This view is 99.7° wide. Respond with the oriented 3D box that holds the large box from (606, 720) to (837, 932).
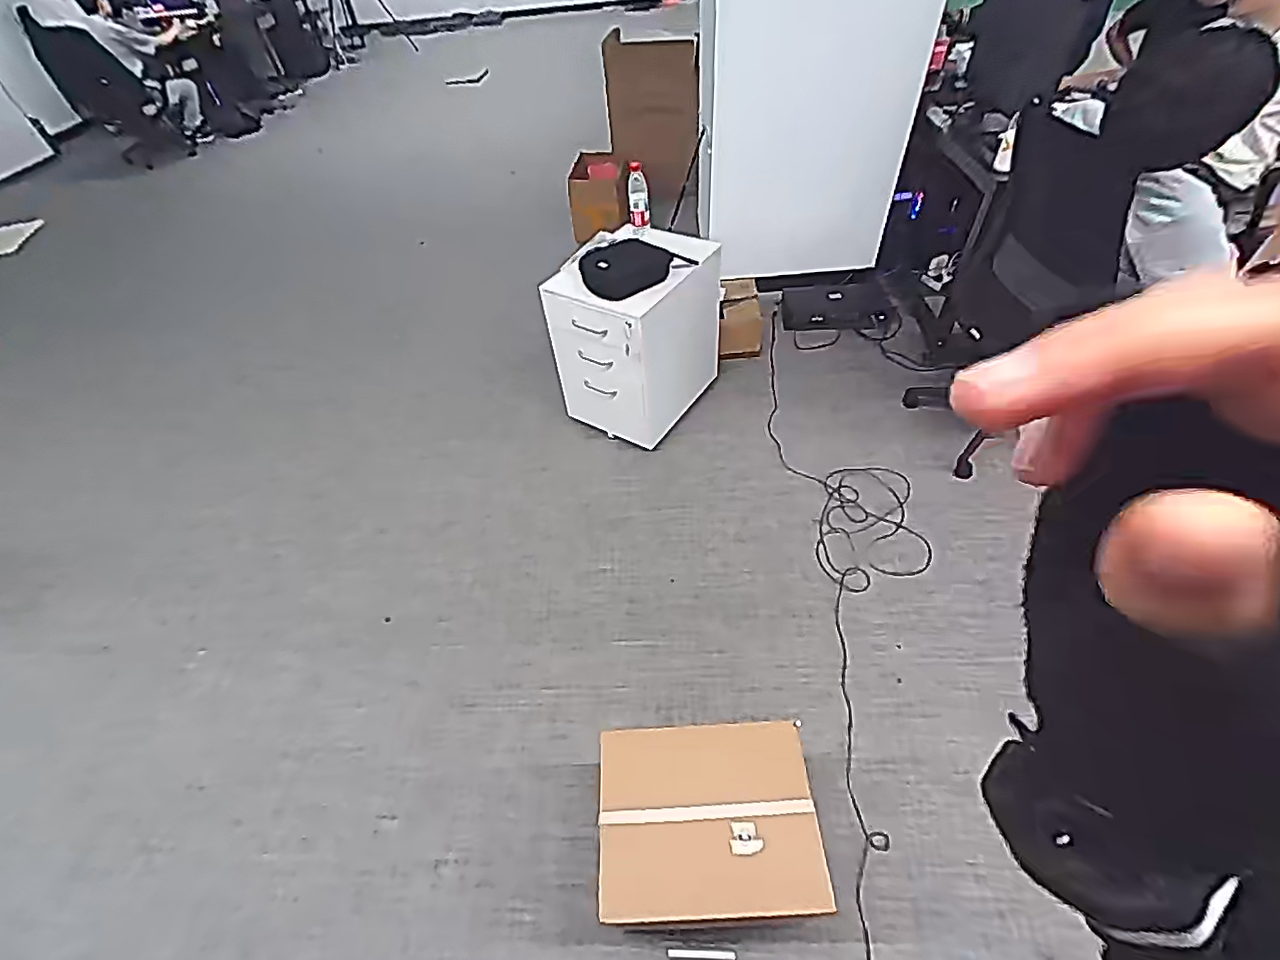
[{"bbox_3d":[0.143,0.728,1.134,0.408,0.320,0.320,-4,49,1],"label":"large box"}]
